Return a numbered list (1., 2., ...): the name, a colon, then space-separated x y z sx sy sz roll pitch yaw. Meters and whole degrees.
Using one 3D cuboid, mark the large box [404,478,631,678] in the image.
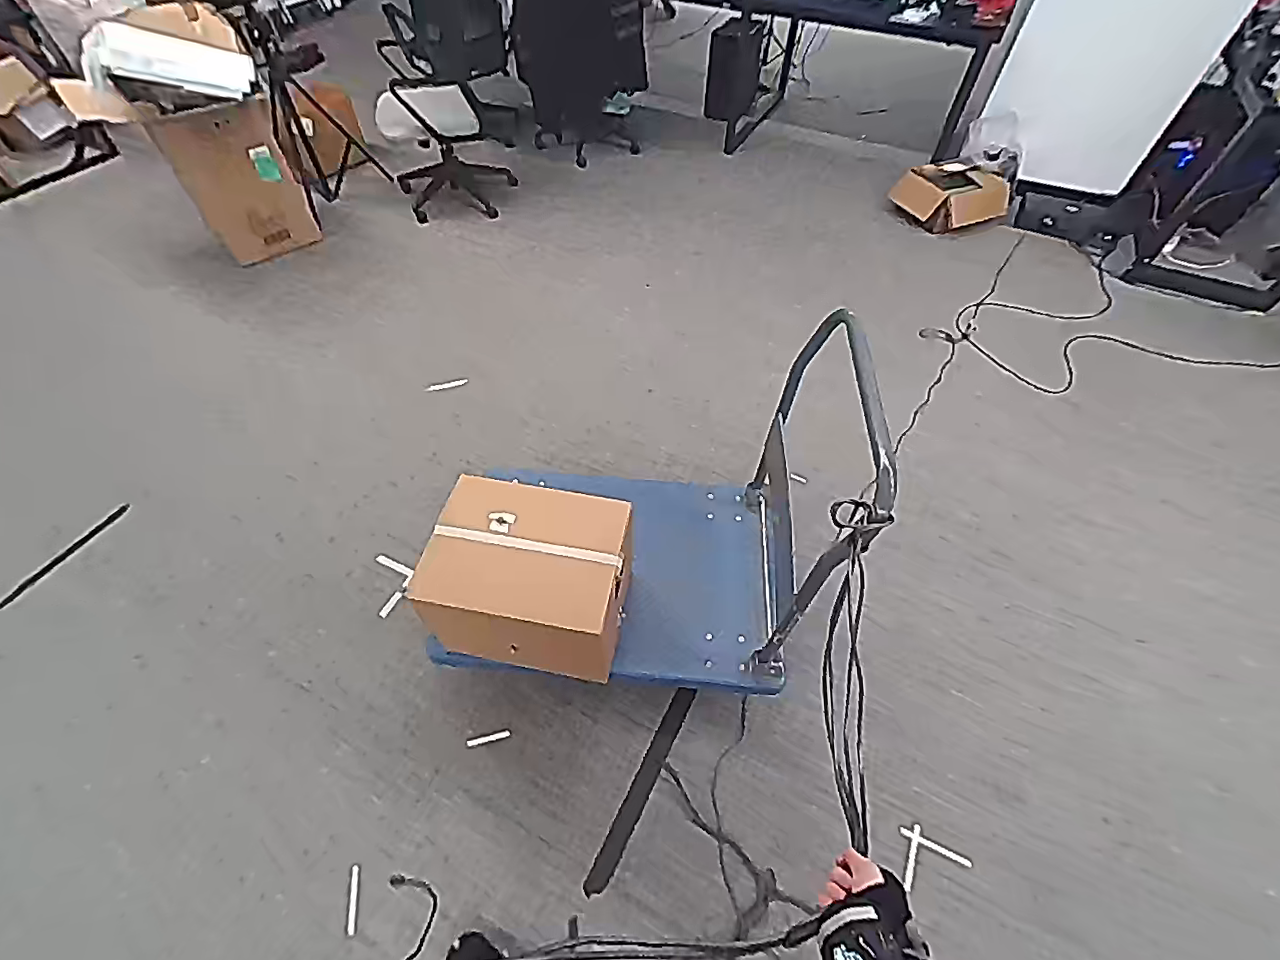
1. large box: -0.241 0.231 1.244 0.408 0.320 0.320 9 53 6
